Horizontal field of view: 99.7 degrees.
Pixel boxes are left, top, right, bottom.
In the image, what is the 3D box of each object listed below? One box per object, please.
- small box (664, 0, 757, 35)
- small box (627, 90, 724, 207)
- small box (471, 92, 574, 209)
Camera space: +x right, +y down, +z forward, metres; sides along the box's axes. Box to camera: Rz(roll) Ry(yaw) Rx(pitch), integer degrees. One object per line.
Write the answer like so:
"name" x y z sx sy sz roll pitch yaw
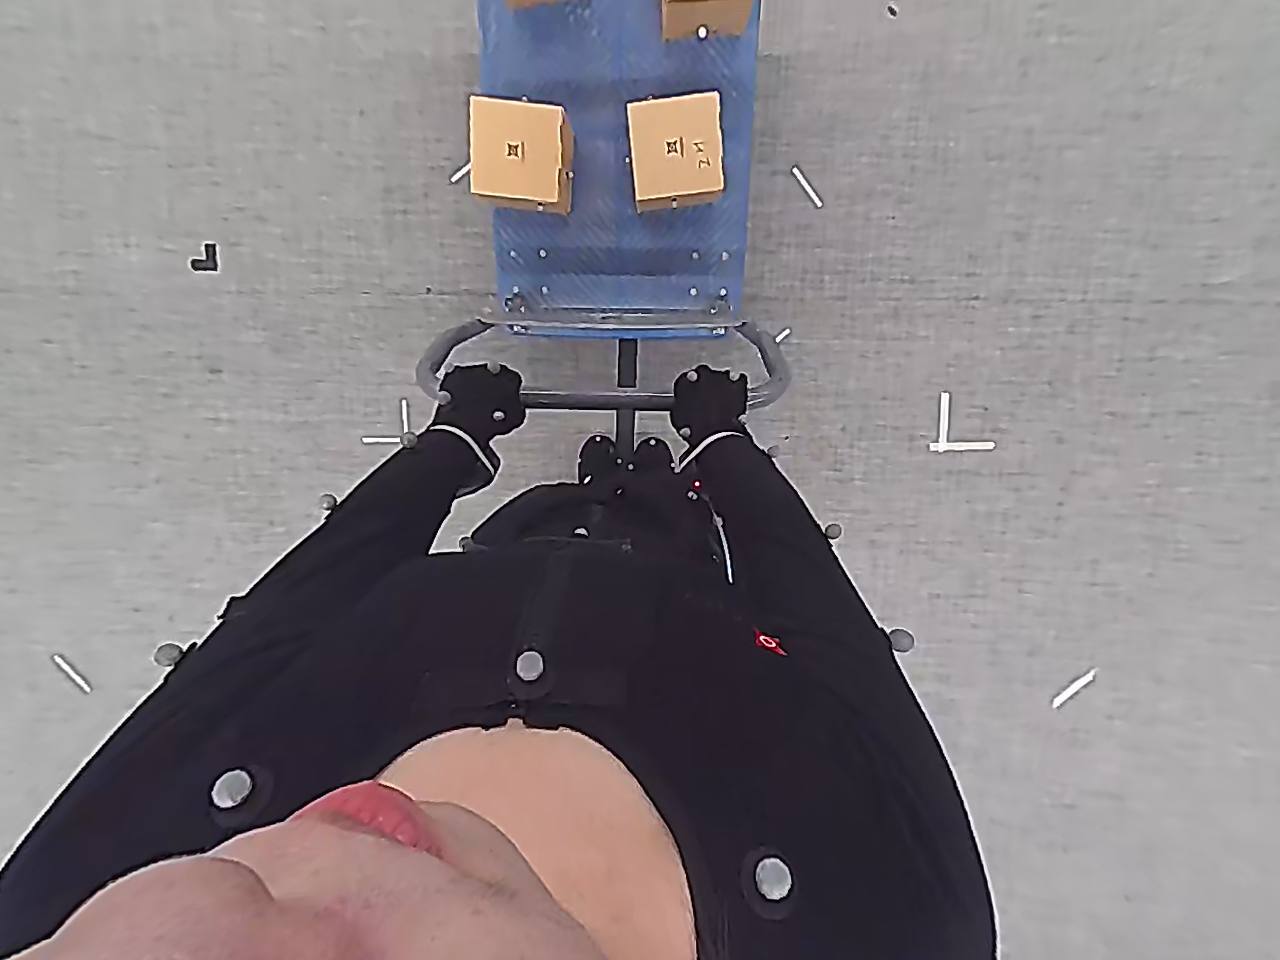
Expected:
"small box" 0.127 -0.961 0.992 0.168 0.176 0.179 -2 111 2
"small box" 0.073 -0.663 1.101 0.179 0.176 0.168 -5 110 3
"small box" -0.235 -0.663 1.108 0.179 0.176 0.168 5 110 -2
